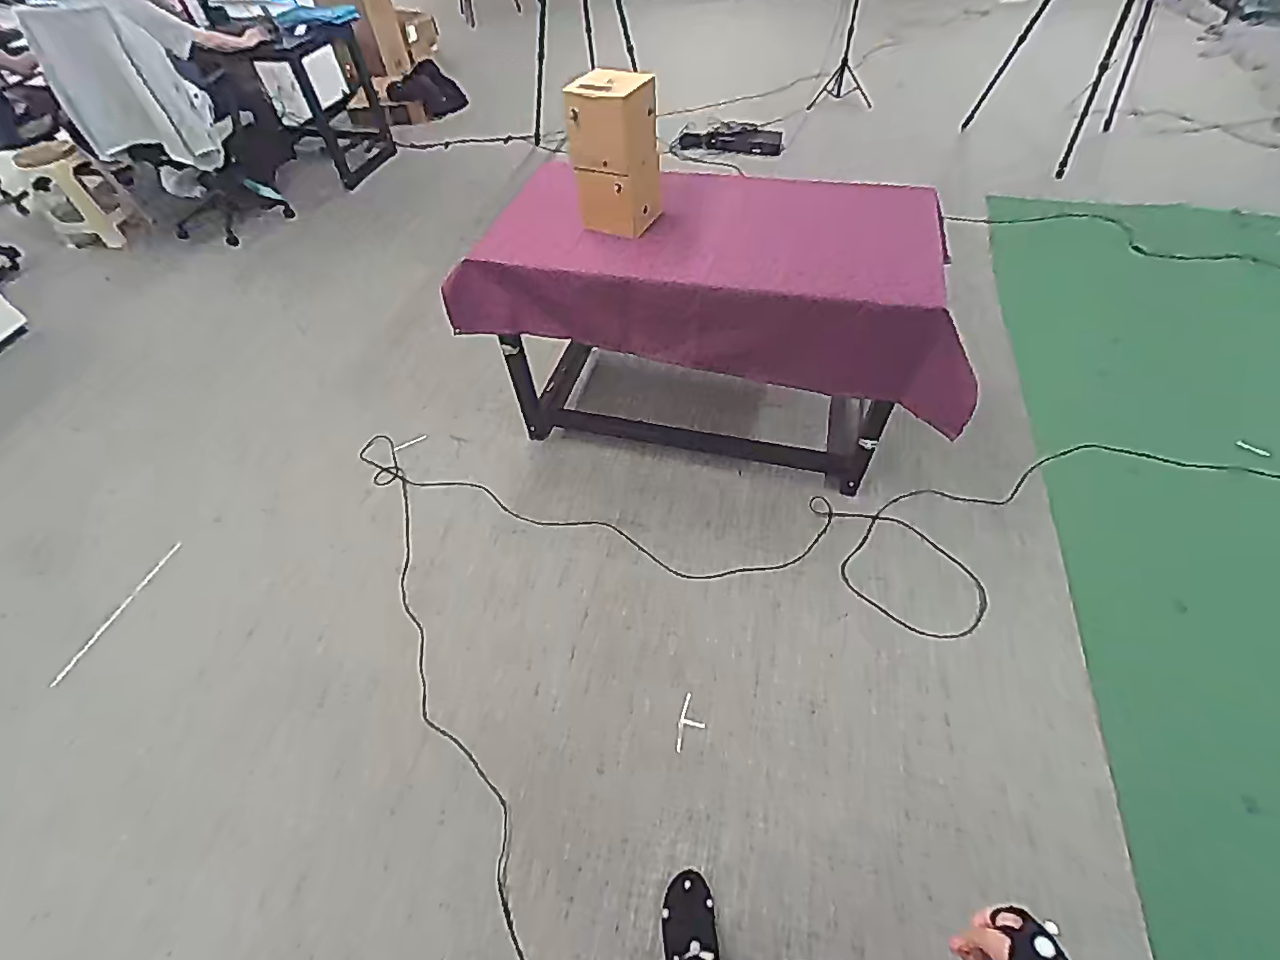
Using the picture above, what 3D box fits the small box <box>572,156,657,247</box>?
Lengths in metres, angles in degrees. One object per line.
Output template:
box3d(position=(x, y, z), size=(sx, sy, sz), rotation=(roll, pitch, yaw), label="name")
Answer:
box3d(position=(-0.064, -0.773, 1.505), size=(0.179, 0.176, 0.168), rotation=(20, 55, 18), label="small box")
